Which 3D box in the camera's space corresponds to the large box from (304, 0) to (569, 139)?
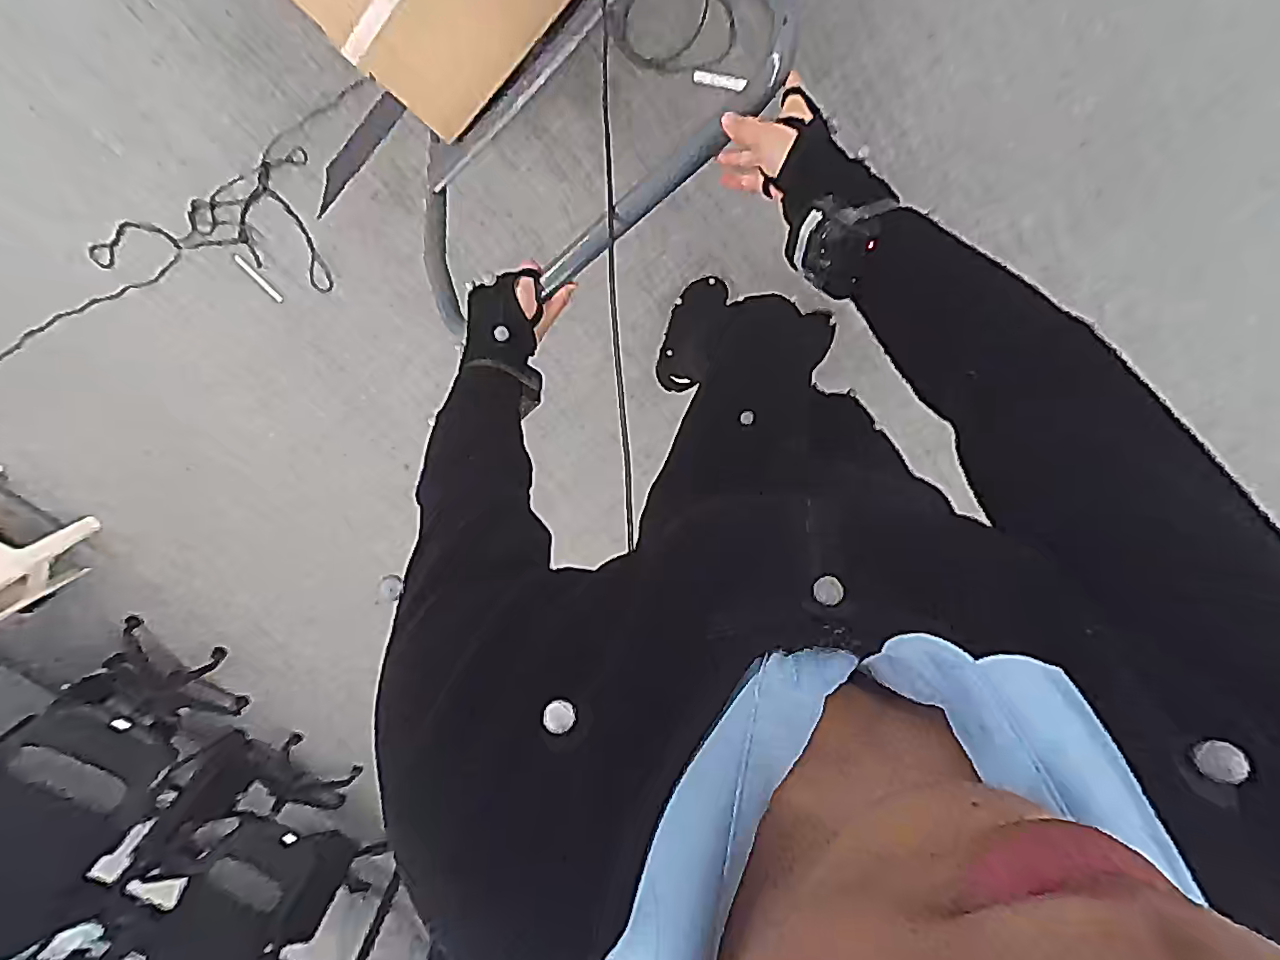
[{"bbox_3d":[-0.252,-0.786,0.729,0.408,0.320,0.320,-34,138,25],"label":"large box"}]
